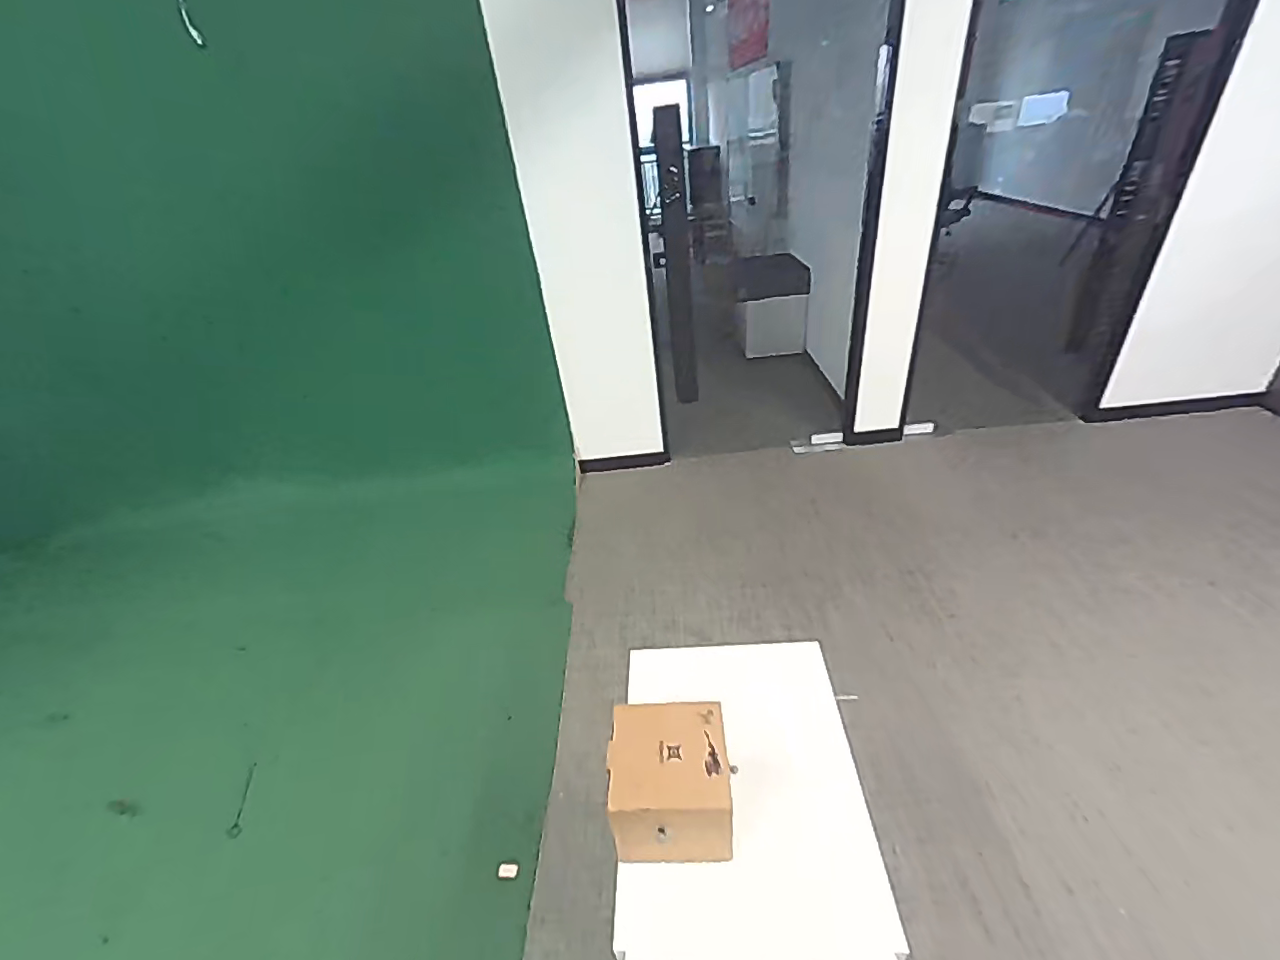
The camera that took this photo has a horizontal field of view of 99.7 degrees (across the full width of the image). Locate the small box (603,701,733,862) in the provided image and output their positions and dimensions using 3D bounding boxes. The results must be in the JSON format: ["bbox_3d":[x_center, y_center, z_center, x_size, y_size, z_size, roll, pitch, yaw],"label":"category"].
[{"bbox_3d":[0.047,0.469,0.841,0.179,0.176,0.168,-4,34,5],"label":"small box"}]
